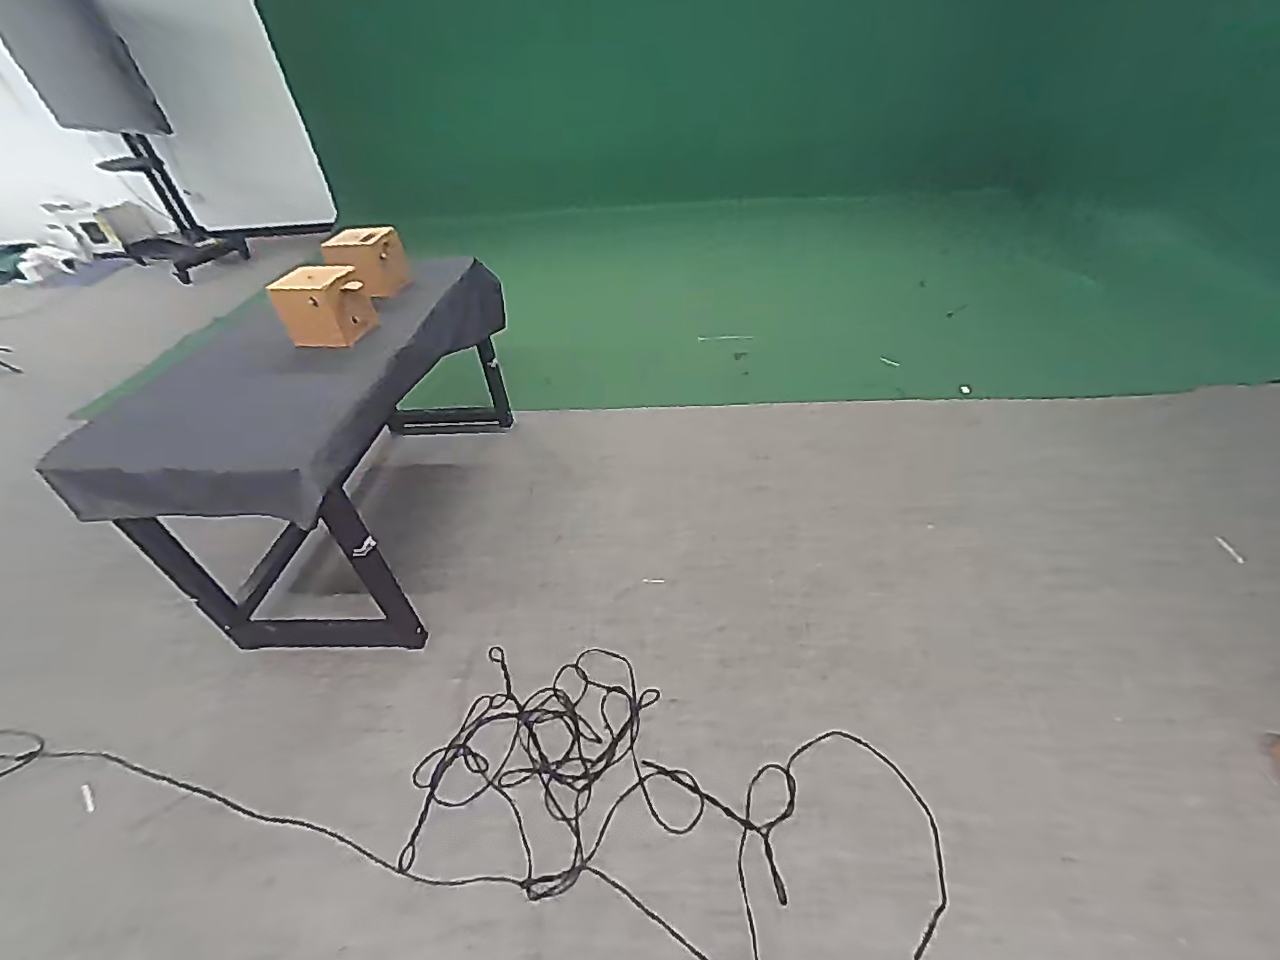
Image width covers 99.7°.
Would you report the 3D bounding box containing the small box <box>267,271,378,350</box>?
[{"bbox_3d":[-0.882,-0.475,1.519,0.179,0.176,0.168,3,41,9],"label":"small box"}]
